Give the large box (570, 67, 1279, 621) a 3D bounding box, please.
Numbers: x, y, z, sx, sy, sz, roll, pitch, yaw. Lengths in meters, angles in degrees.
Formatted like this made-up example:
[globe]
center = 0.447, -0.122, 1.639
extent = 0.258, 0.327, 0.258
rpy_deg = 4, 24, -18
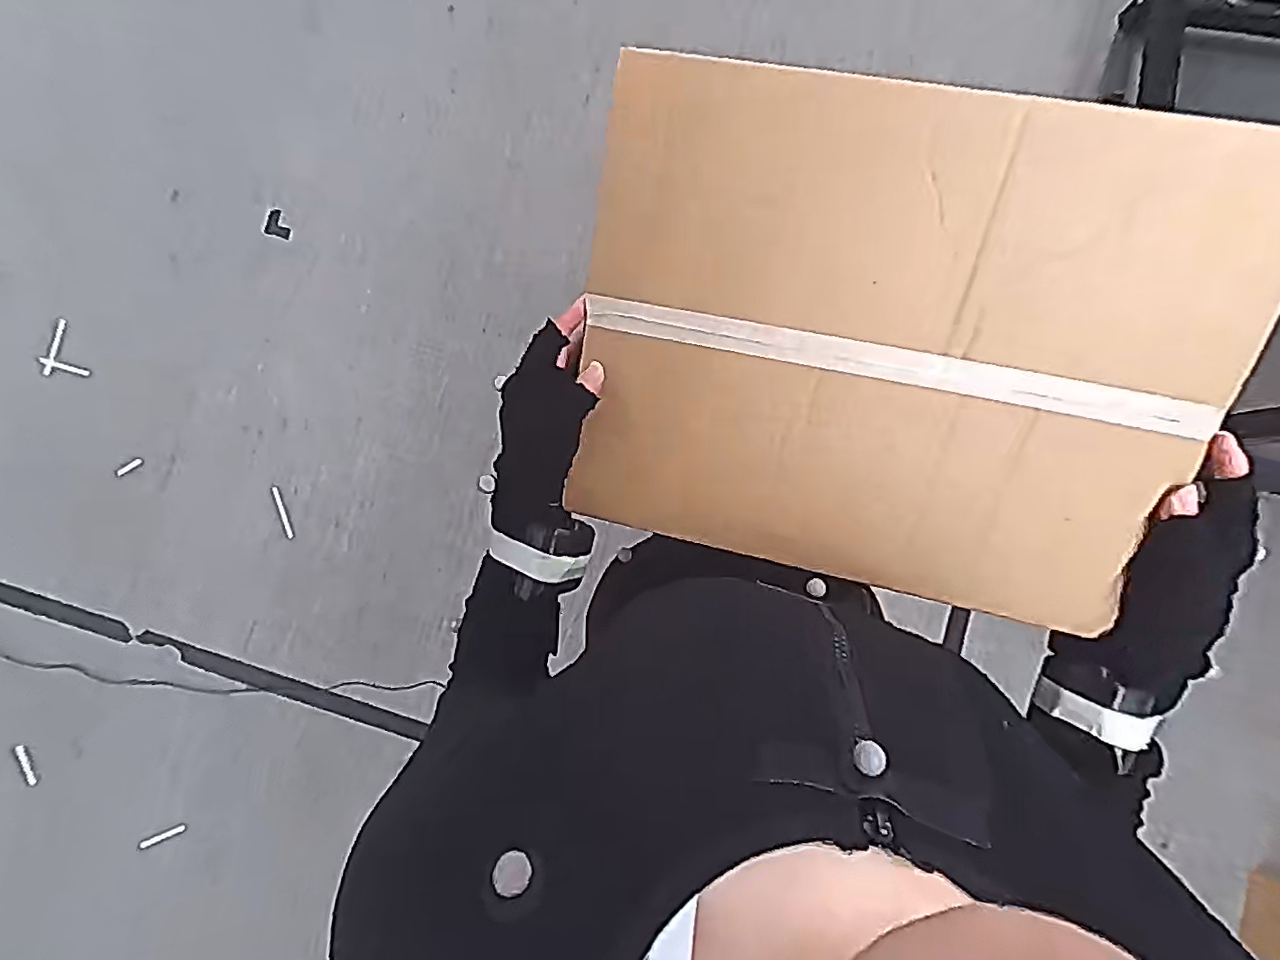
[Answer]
[large box]
center = 0.184, -0.123, 0.508
extent = 0.408, 0.320, 0.320
rpy_deg = 13, 110, 7
